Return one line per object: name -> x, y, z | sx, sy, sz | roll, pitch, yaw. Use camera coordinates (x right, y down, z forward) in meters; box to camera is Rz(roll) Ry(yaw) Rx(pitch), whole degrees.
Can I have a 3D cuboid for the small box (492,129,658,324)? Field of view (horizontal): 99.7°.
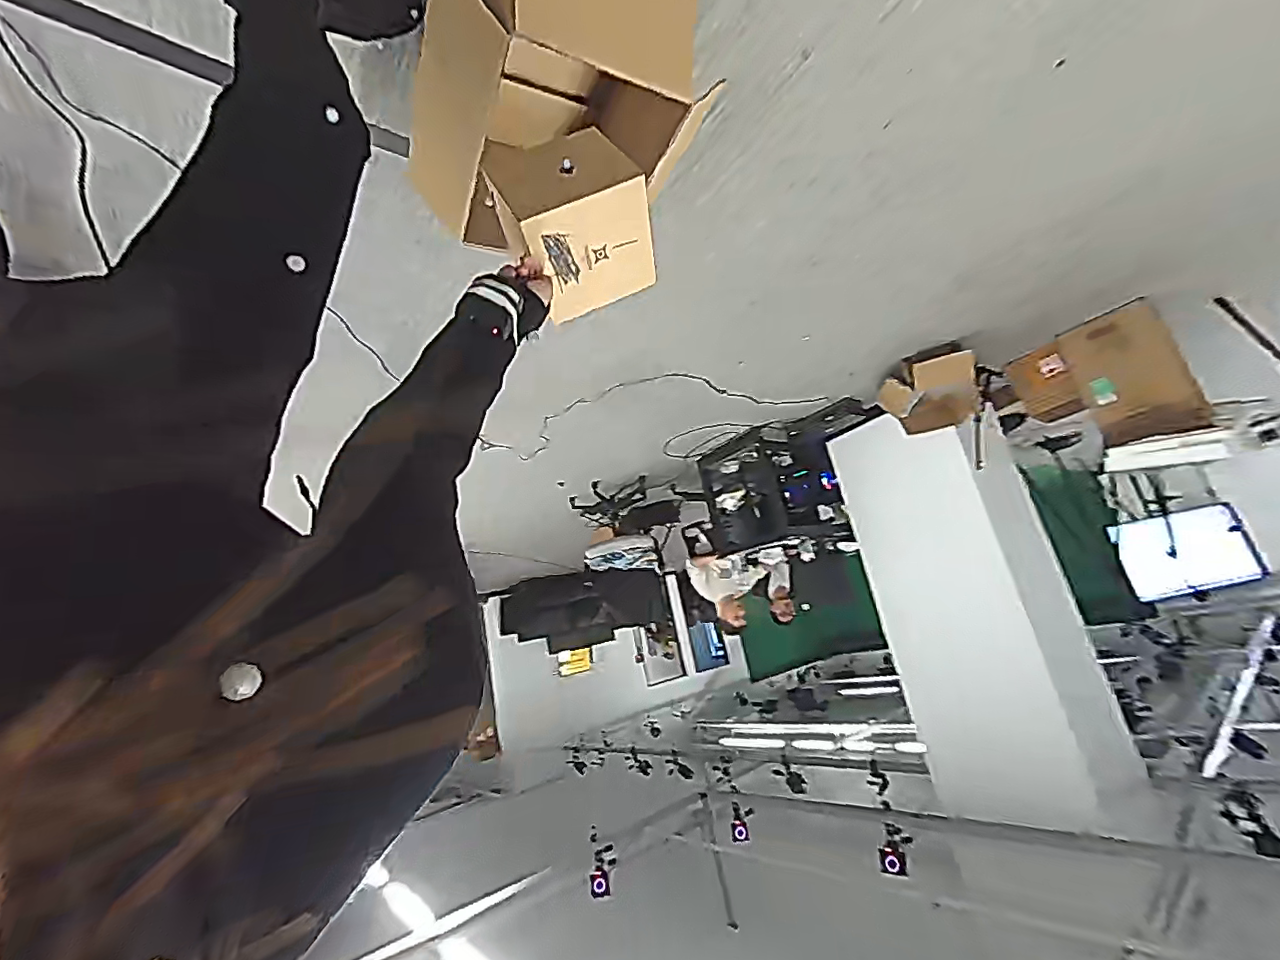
small box -> -0.095, -0.362, 0.771 | 0.179, 0.176, 0.168 | -27, 147, -9
